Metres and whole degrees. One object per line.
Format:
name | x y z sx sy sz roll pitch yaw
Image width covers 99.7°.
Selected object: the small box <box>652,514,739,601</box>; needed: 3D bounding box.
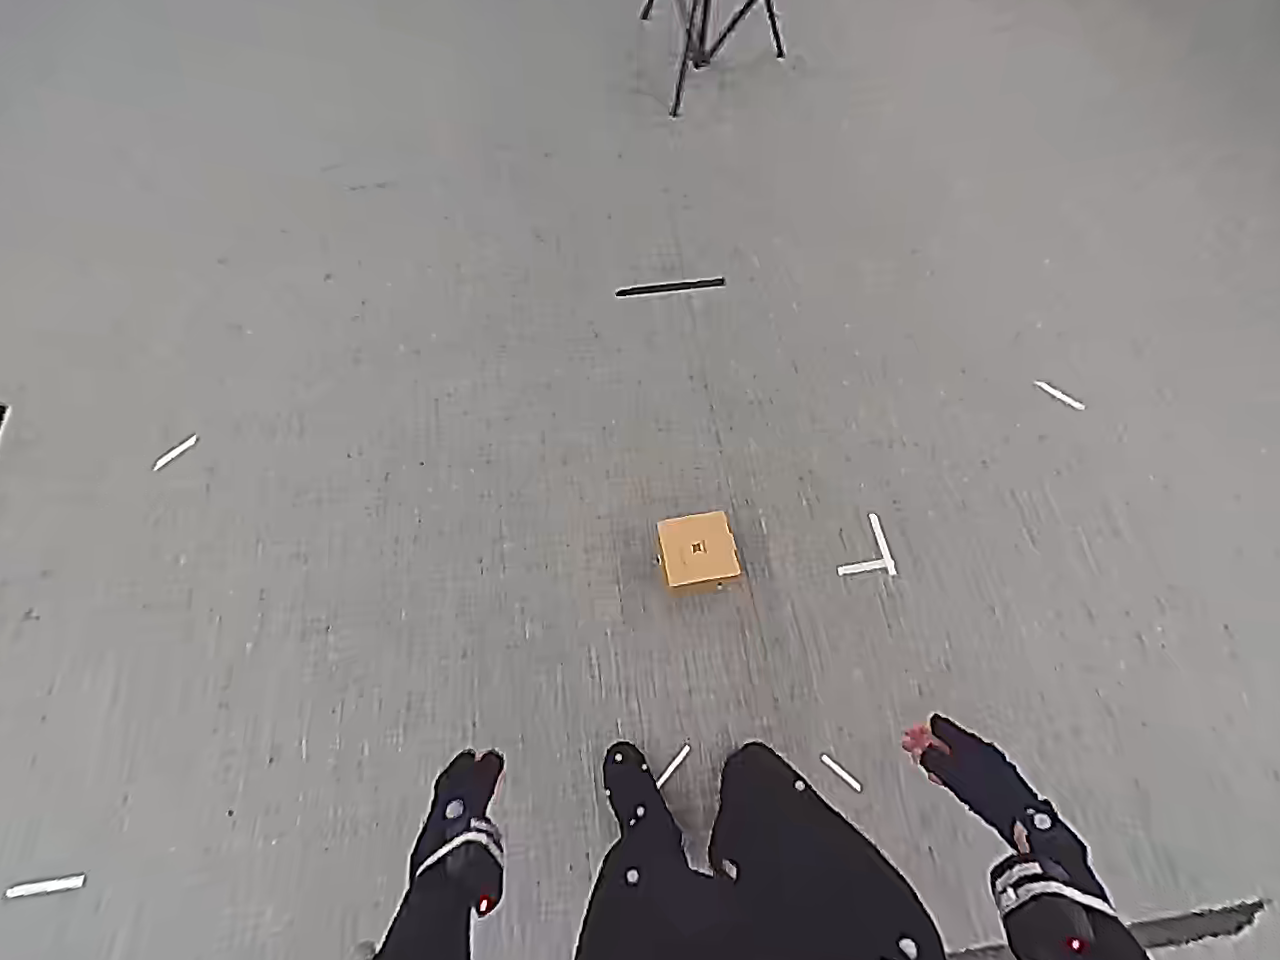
small box | 0.133 0.201 1.376 0.179 0.176 0.168 -10 68 -5
